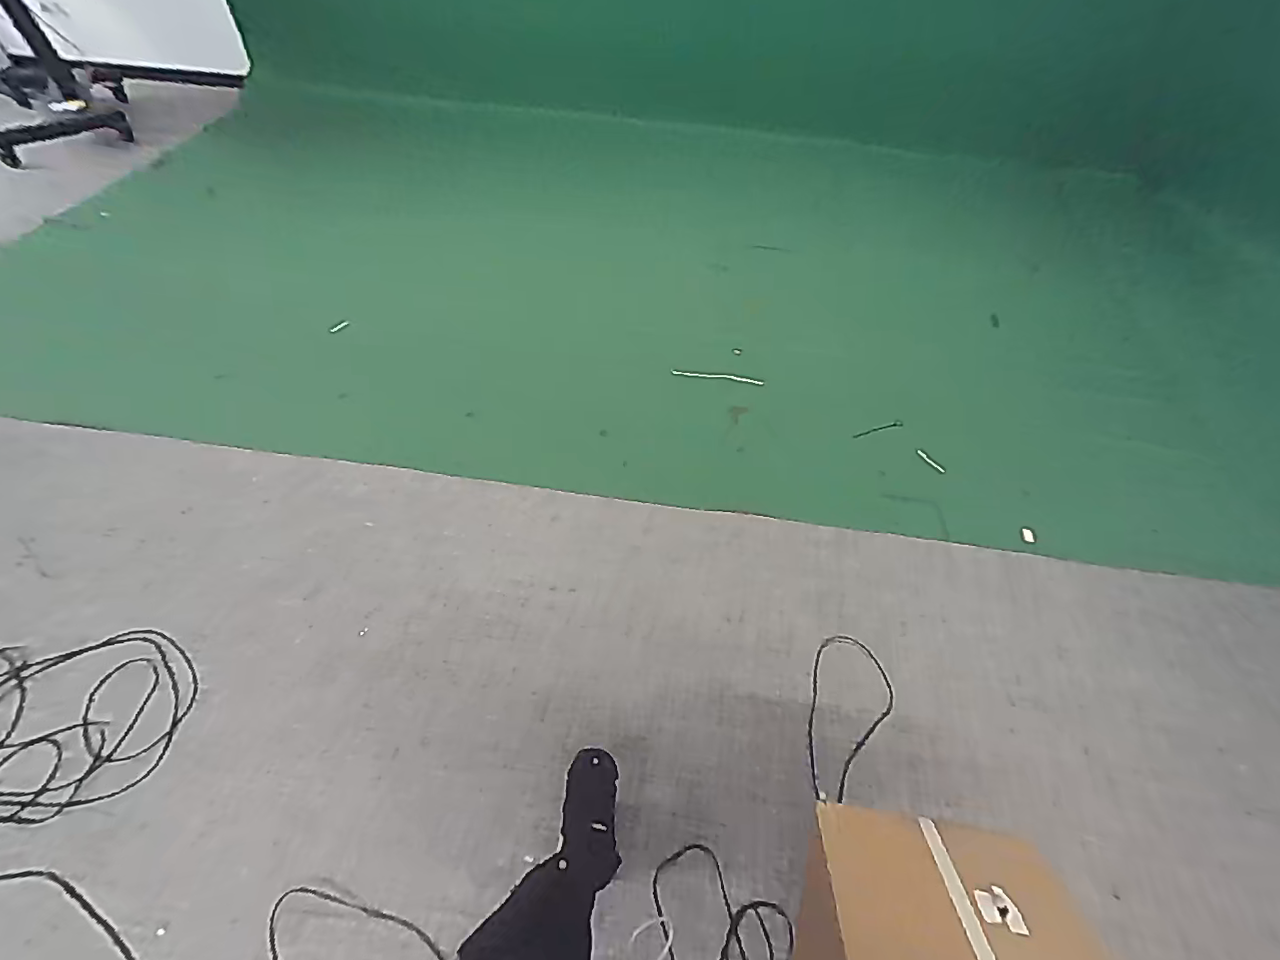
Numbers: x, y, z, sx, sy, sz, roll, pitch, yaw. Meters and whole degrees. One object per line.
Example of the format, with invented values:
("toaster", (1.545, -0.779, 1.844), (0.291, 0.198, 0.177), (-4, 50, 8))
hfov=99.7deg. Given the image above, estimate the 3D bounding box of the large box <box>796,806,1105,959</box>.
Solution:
("large box", (0.386, 0.704, 0.658), (0.320, 0.320, 0.408), (7, 12, 8))
